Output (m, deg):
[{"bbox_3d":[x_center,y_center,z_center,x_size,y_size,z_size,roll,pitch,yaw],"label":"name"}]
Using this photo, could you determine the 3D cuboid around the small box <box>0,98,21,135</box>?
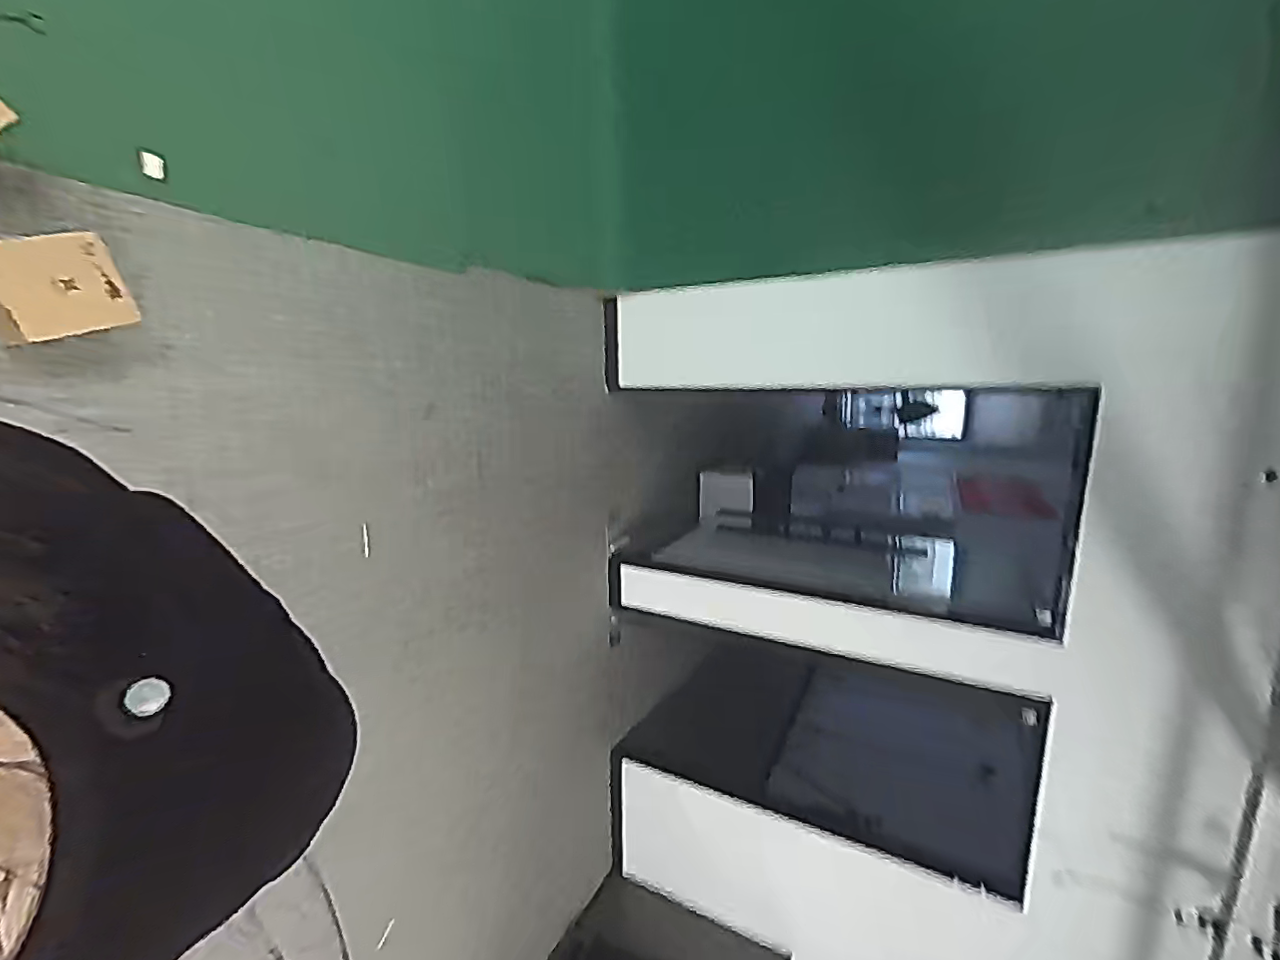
[{"bbox_3d":[-1.159,-0.596,0.837,0.168,0.176,0.179,-67,148,-30],"label":"small box"}]

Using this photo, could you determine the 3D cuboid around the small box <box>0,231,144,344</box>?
[{"bbox_3d":[-1.094,-0.355,1.002,0.179,0.176,0.168,-44,132,-50],"label":"small box"}]
